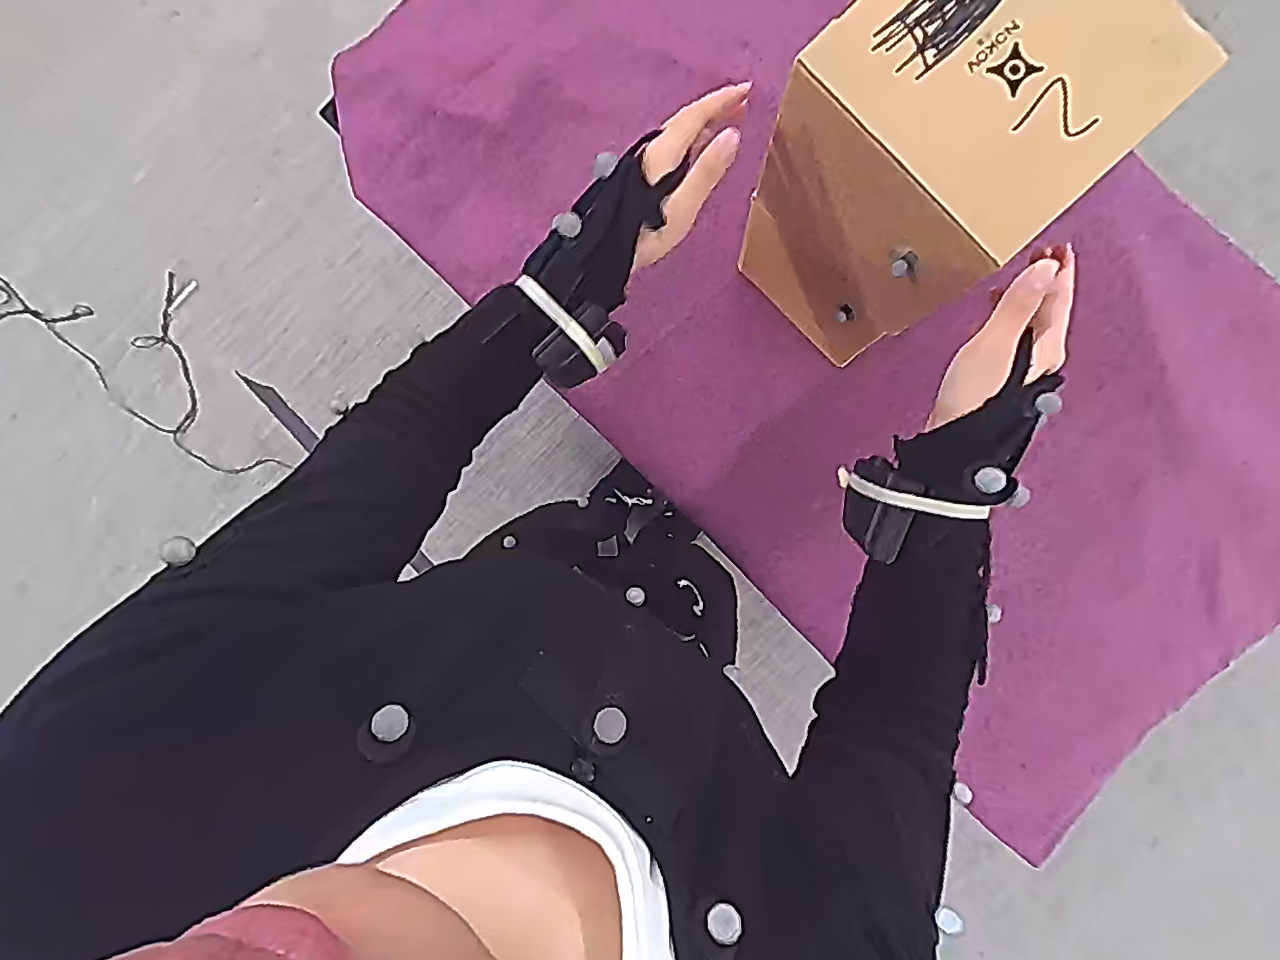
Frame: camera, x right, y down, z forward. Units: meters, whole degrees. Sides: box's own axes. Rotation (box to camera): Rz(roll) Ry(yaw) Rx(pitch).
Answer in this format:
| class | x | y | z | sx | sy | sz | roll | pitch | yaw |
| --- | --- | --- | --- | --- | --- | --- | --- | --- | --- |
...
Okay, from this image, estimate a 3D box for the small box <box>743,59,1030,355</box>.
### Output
| class | x | y | z | sx | sy | sz | roll | pitch | yaw |
| --- | --- | --- | --- | --- | --- | --- | --- | --- | --- |
| small box | 0.225 | -0.253 | 0.552 | 0.168 | 0.176 | 0.179 | -44 | 87 | 4 |
